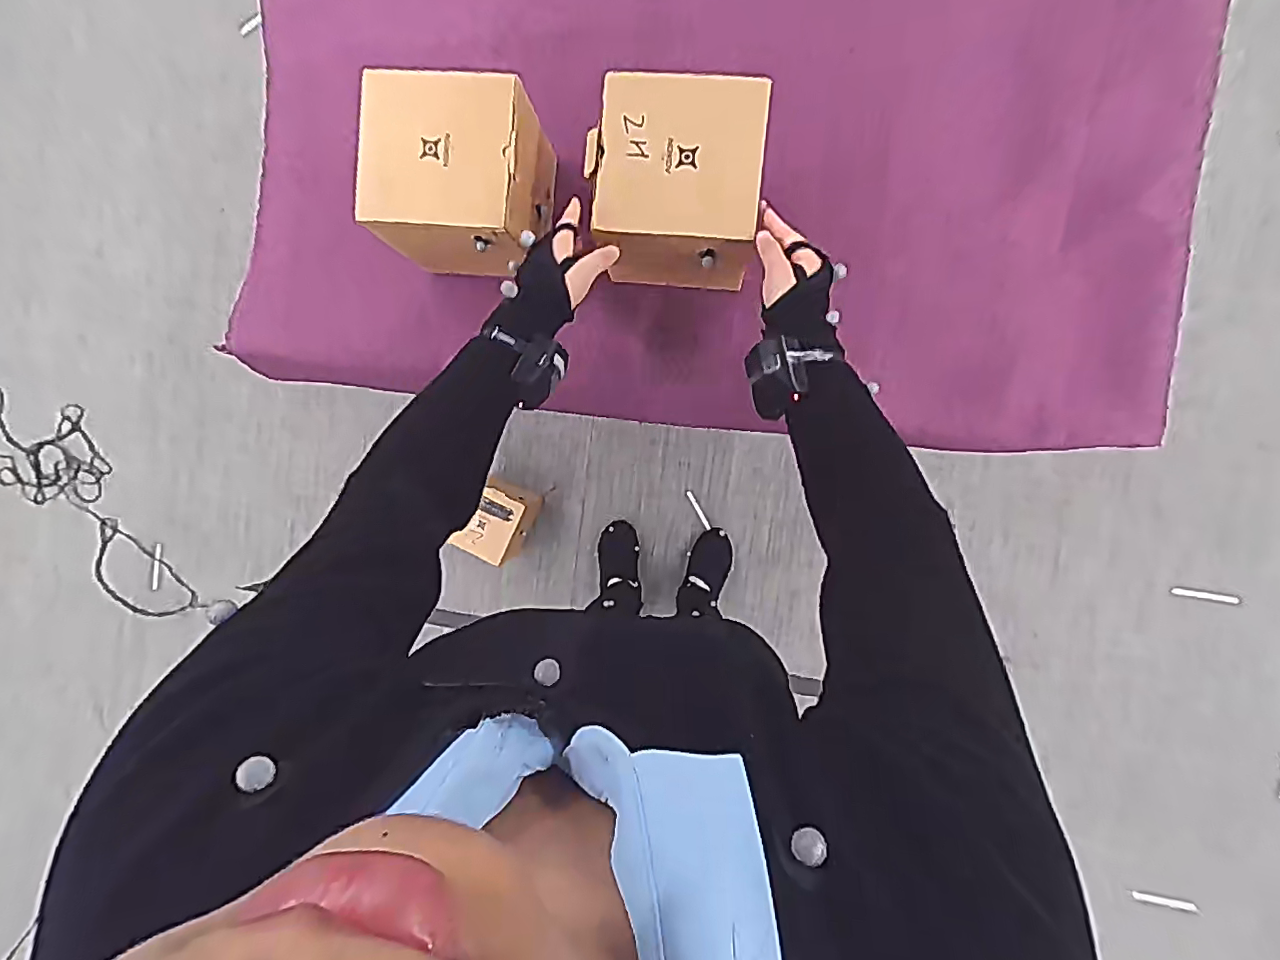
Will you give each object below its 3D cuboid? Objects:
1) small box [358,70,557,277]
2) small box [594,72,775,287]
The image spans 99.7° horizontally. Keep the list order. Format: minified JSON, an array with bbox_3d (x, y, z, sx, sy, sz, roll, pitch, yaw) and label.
[{"bbox_3d":[-0.213,-0.362,0.667,0.179,0.176,0.168,4,92,4],"label":"small box"},{"bbox_3d":[0.051,-0.339,0.642,0.179,0.176,0.168,6,92,5],"label":"small box"}]
